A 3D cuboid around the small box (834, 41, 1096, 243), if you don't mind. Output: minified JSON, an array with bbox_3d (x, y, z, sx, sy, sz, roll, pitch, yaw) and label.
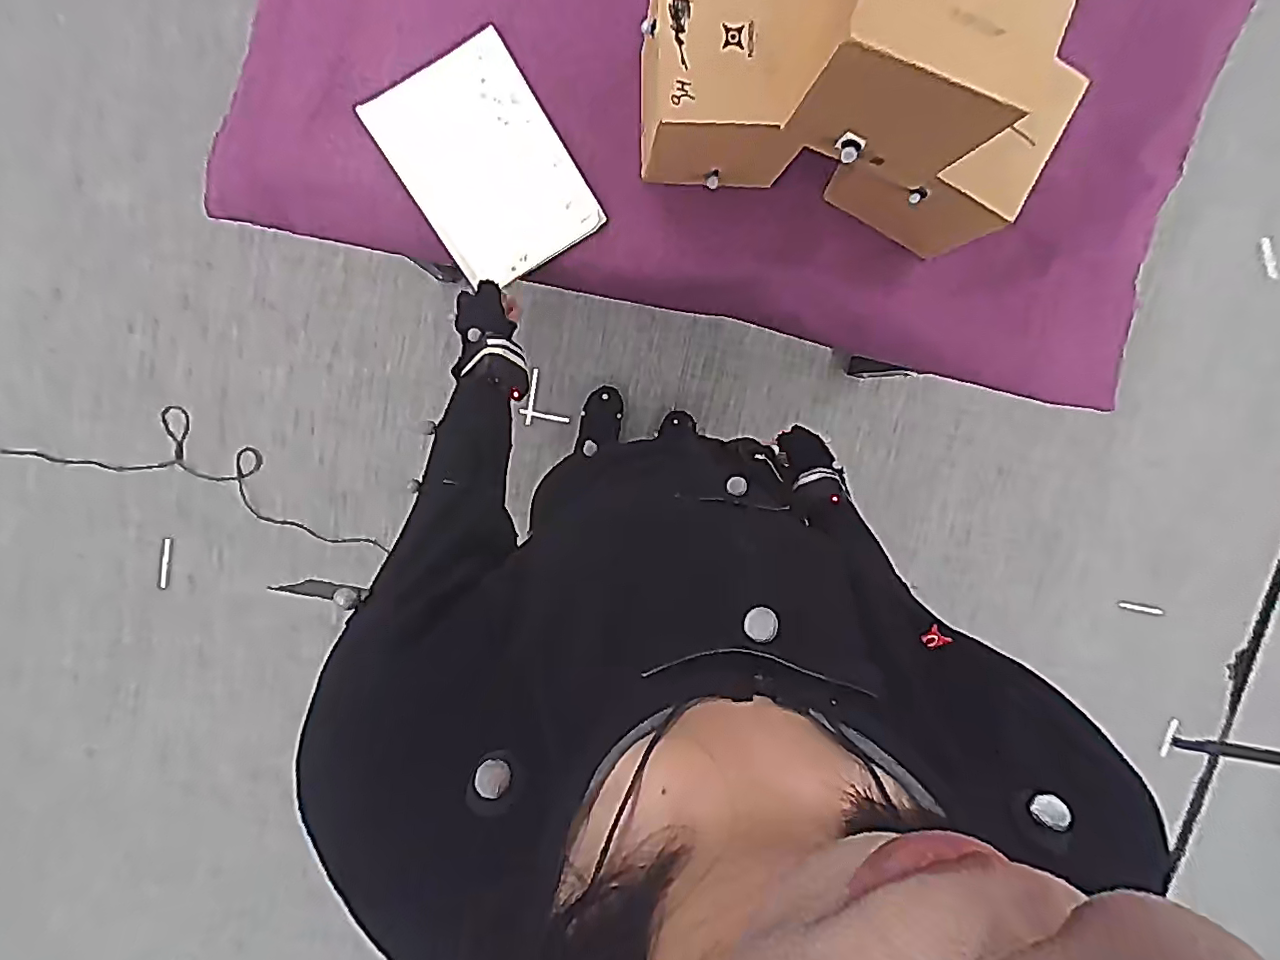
[{"bbox_3d":[0.369,-0.416,0.652,0.179,0.176,0.168,26,96,-7],"label":"small box"}]

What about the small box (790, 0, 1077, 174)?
[{"bbox_3d":[0.254,-0.415,0.479,0.168,0.176,0.179,16,98,-5],"label":"small box"}]

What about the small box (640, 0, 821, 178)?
[{"bbox_3d":[0.097,-0.469,0.624,0.179,0.176,0.168,-1,98,-5],"label":"small box"}]
